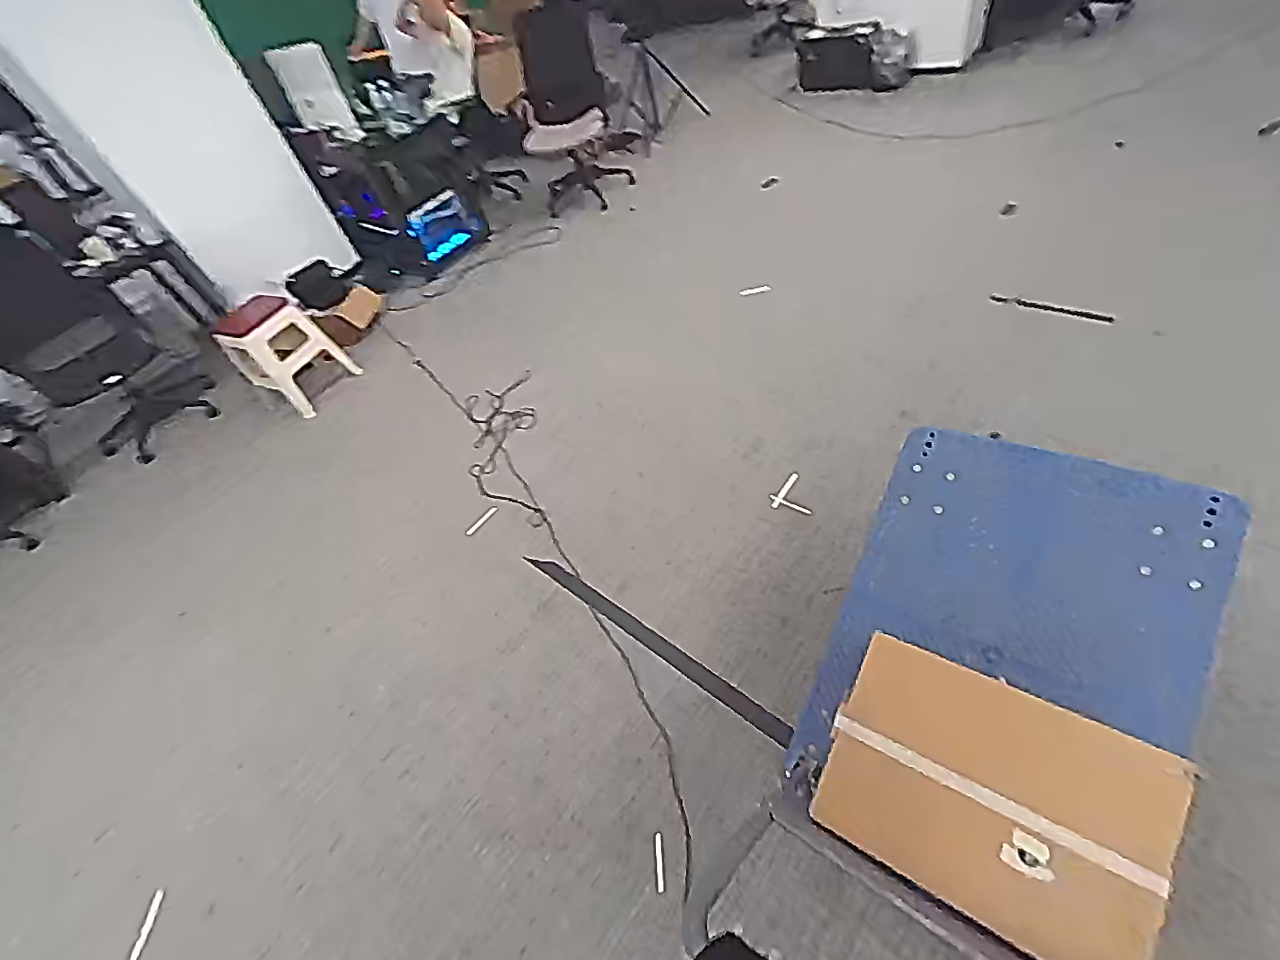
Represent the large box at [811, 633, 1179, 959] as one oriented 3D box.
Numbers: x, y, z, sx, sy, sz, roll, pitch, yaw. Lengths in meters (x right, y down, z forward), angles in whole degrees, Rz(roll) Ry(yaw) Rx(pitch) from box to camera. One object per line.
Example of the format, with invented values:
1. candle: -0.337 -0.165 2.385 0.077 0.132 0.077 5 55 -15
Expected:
1. large box: 0.551 0.492 0.917 0.408 0.320 0.320 19 82 30
